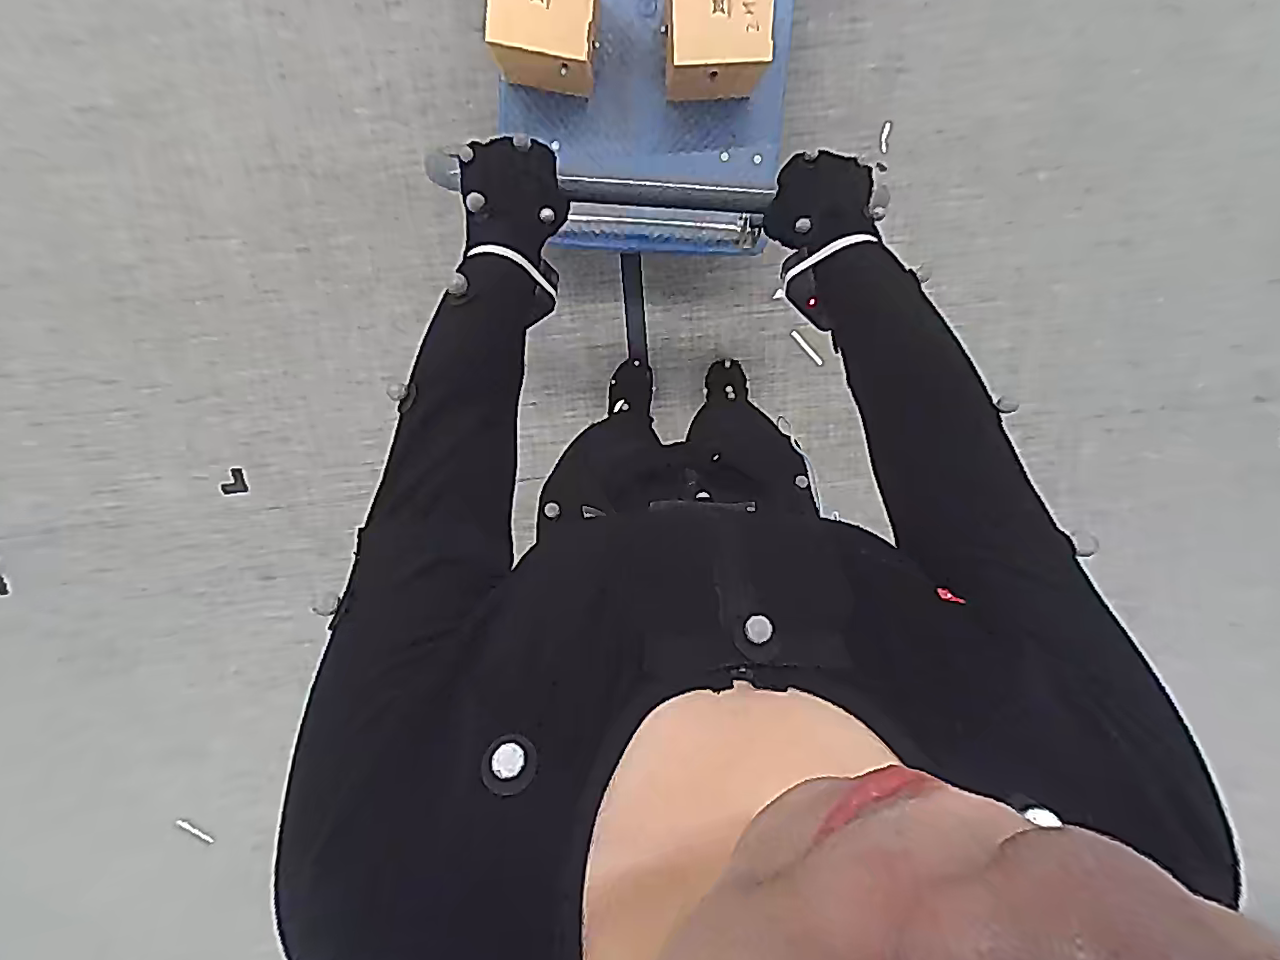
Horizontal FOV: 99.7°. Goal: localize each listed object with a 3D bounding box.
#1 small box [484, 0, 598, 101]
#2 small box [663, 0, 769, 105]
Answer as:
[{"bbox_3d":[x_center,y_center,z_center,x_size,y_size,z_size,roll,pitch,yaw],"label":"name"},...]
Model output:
[{"bbox_3d":[-0.174,-0.826,0.987,0.179,0.176,0.168,7,106,-6],"label":"small box"},{"bbox_3d":[0.133,-0.819,1.001,0.179,0.176,0.168,-3,108,-1],"label":"small box"}]
